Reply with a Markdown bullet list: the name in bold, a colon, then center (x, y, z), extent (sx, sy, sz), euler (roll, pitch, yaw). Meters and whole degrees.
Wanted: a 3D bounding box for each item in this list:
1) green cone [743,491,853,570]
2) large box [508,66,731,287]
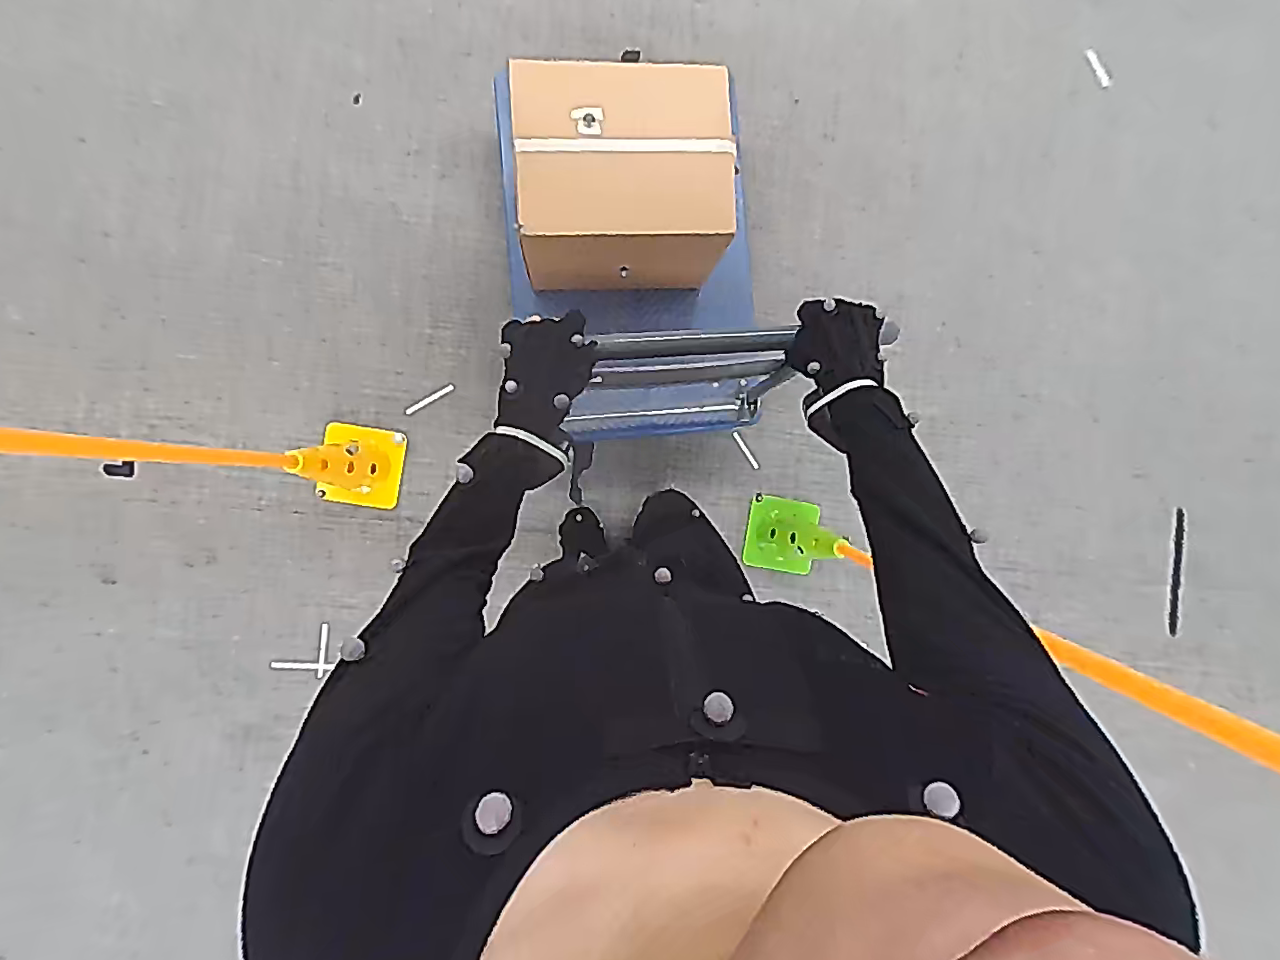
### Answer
- **green cone**: center (0.416, 0.143, 1.346), extent (0.202, 0.368, 0.200), euler (10, 89, -7)
- **large box**: center (-0.046, -0.615, 1.150), extent (0.408, 0.320, 0.320), euler (-3, 91, -5)
